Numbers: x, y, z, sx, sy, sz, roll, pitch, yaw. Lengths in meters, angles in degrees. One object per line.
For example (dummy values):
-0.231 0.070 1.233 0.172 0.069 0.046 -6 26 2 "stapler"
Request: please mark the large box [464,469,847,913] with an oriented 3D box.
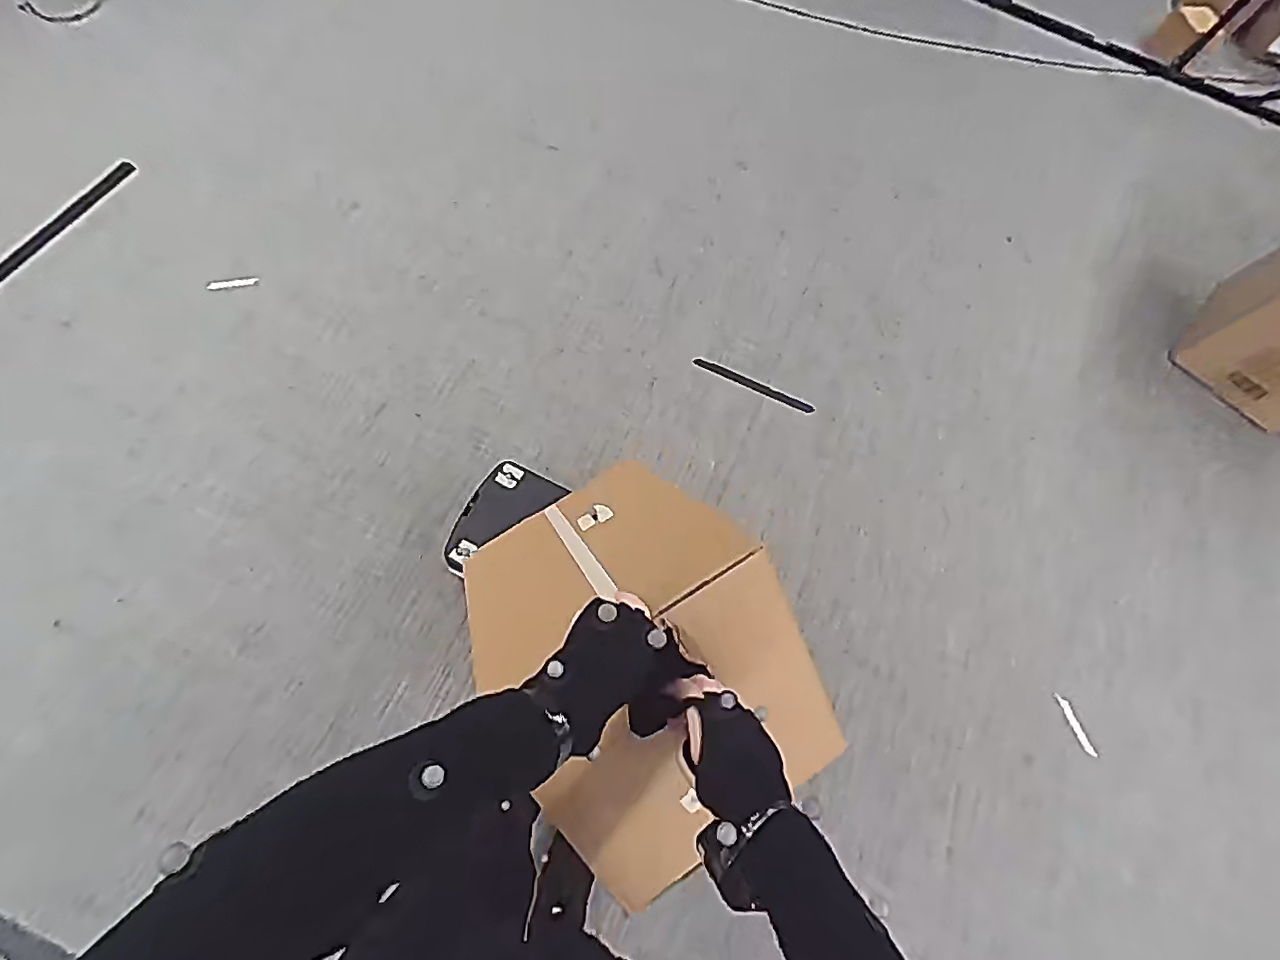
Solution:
-0.008 0.225 0.728 0.320 0.408 0.320 -30 111 -12 "large box"
